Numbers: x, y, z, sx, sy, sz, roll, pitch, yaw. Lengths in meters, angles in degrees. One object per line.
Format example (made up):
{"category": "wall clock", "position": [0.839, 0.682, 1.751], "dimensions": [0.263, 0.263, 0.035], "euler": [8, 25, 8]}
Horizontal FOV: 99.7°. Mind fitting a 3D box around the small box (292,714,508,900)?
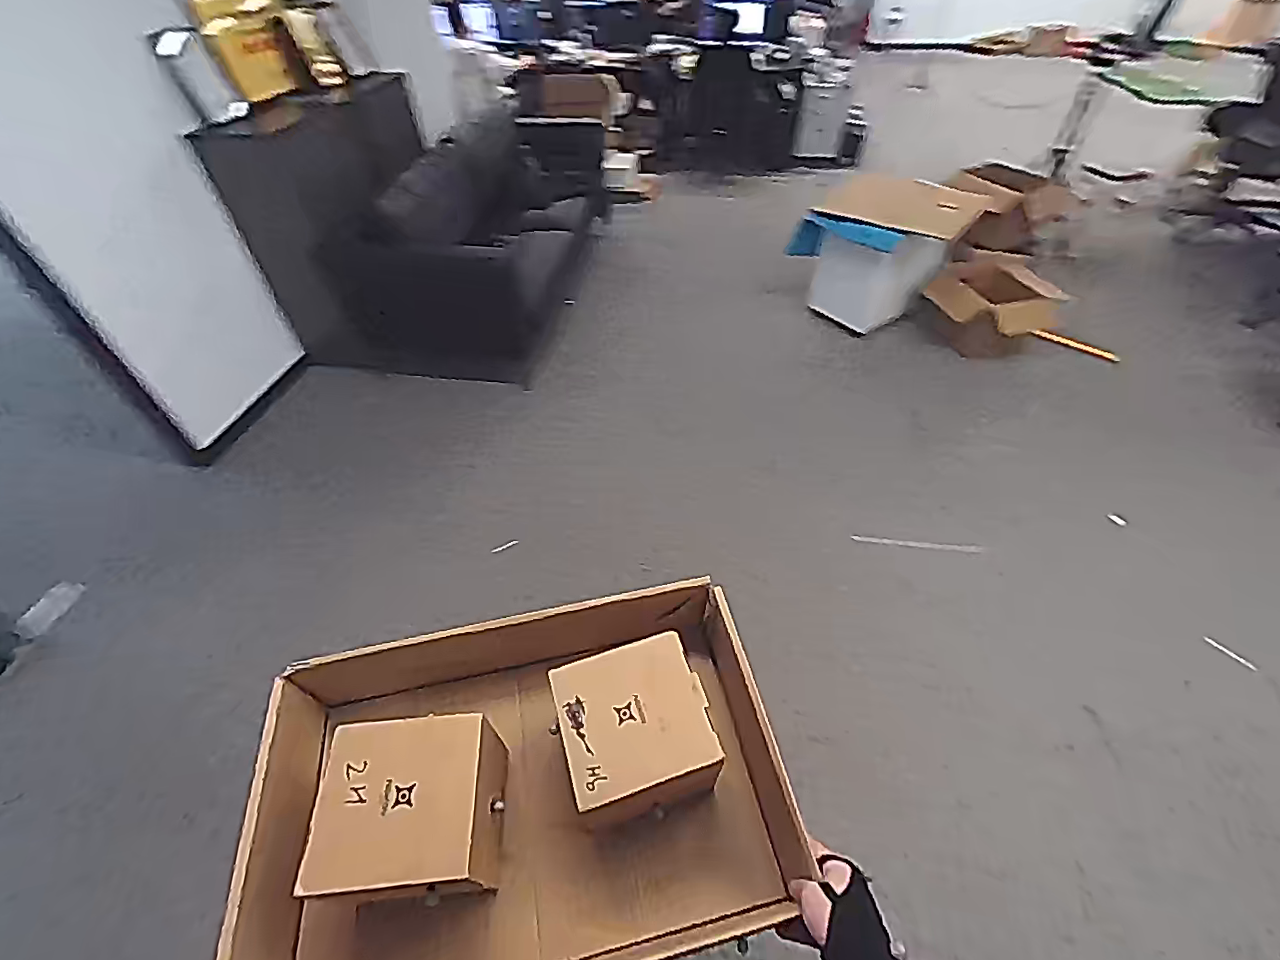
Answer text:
{"category": "small box", "position": [-0.264, 0.396, 0.651], "dimensions": [0.179, 0.176, 0.168], "euler": [-3, 49, -2]}
